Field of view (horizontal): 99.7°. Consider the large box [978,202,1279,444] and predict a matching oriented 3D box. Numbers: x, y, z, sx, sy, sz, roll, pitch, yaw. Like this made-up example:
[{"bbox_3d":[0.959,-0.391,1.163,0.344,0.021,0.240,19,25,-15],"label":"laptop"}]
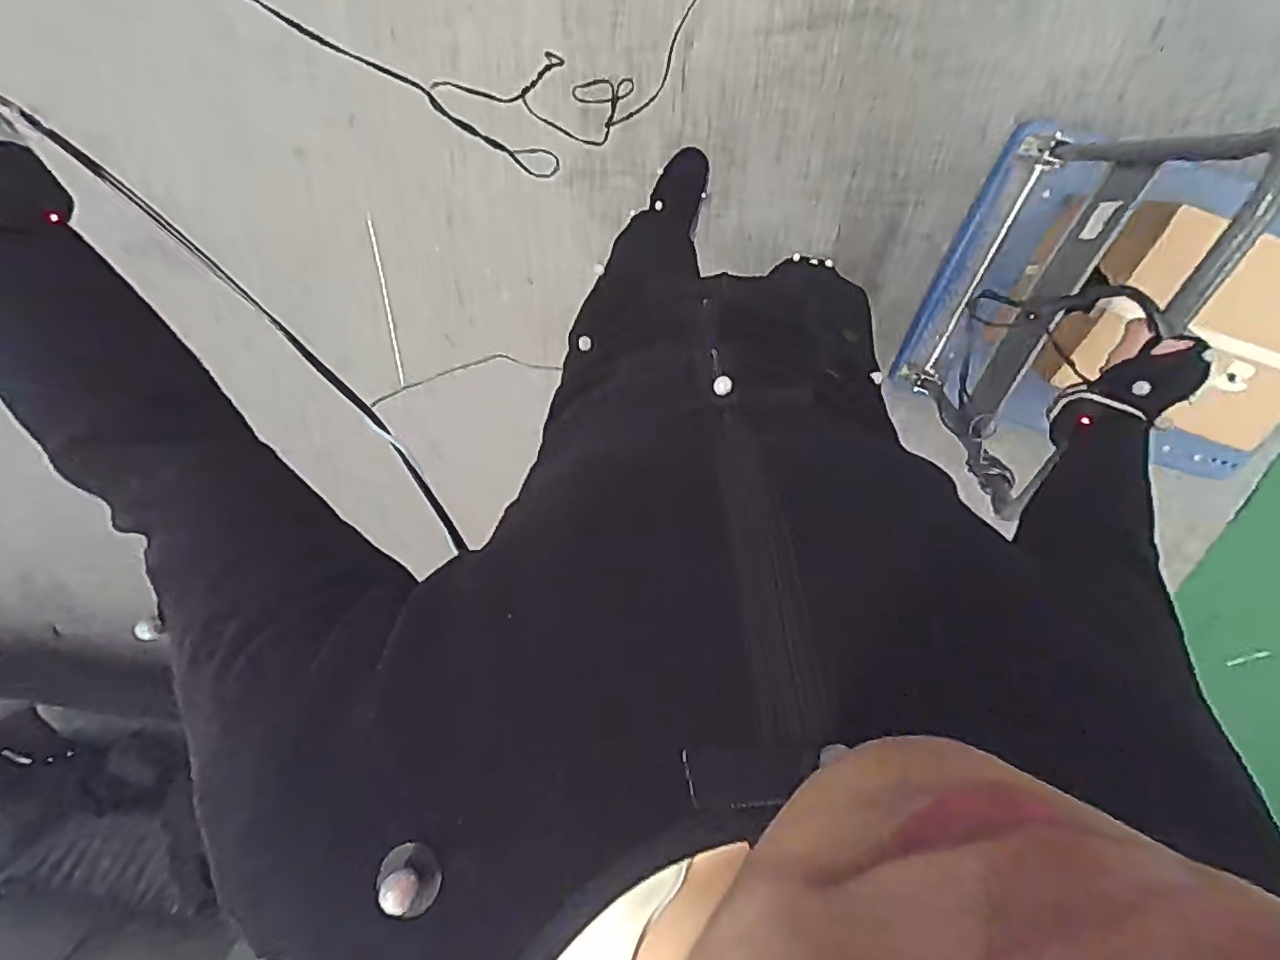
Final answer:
[{"bbox_3d":[0.986,-0.320,1.056,0.408,0.320,0.320,18,122,-2],"label":"large box"}]
